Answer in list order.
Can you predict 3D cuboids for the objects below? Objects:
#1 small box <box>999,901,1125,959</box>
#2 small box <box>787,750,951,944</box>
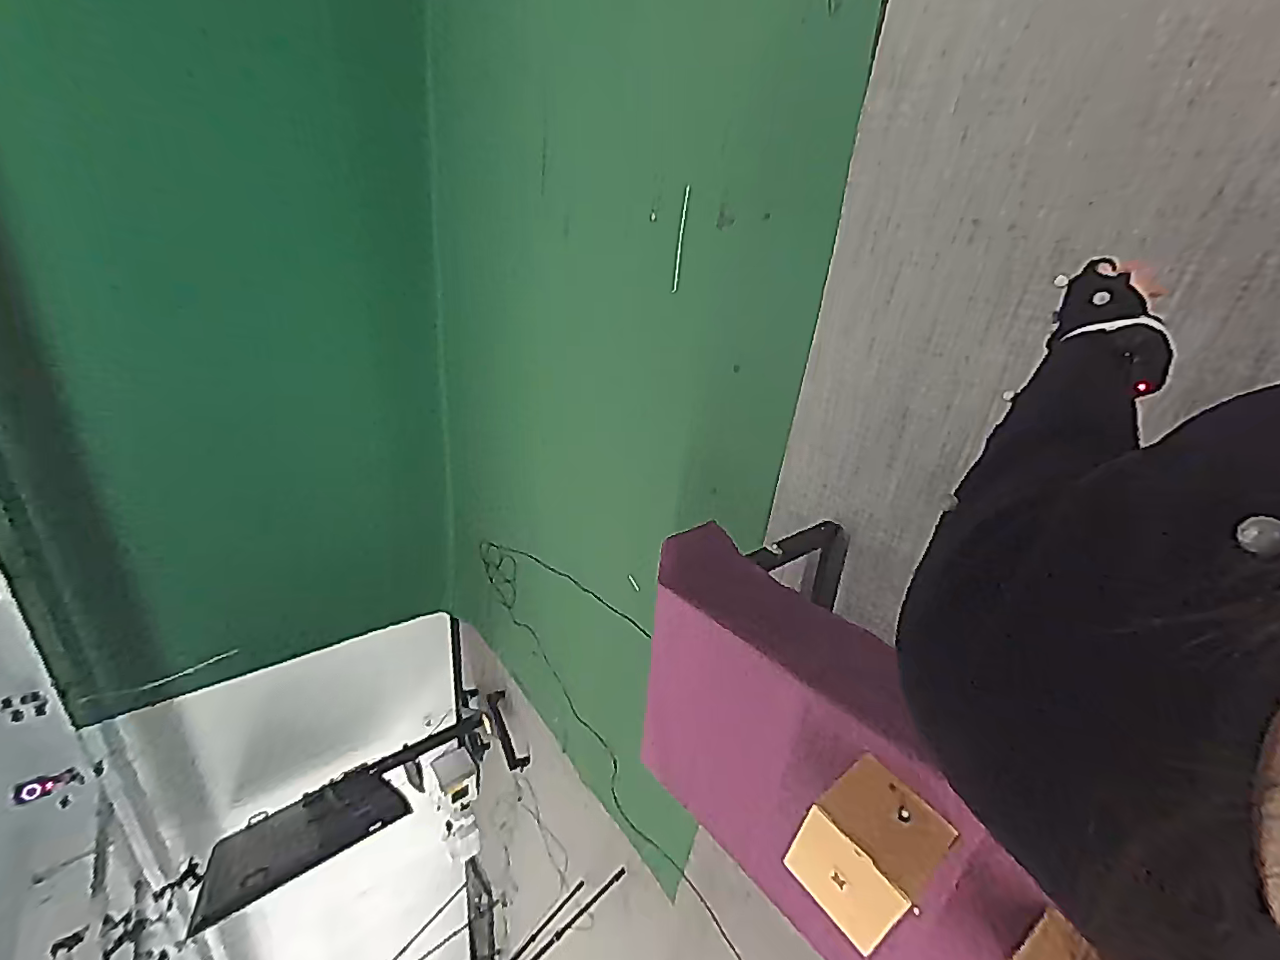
[{"bbox_3d":[0.566,0.711,0.697,0.179,0.176,0.168,31,124,42],"label":"small box"},{"bbox_3d":[0.381,0.600,0.901,0.168,0.176,0.179,37,127,39],"label":"small box"}]
